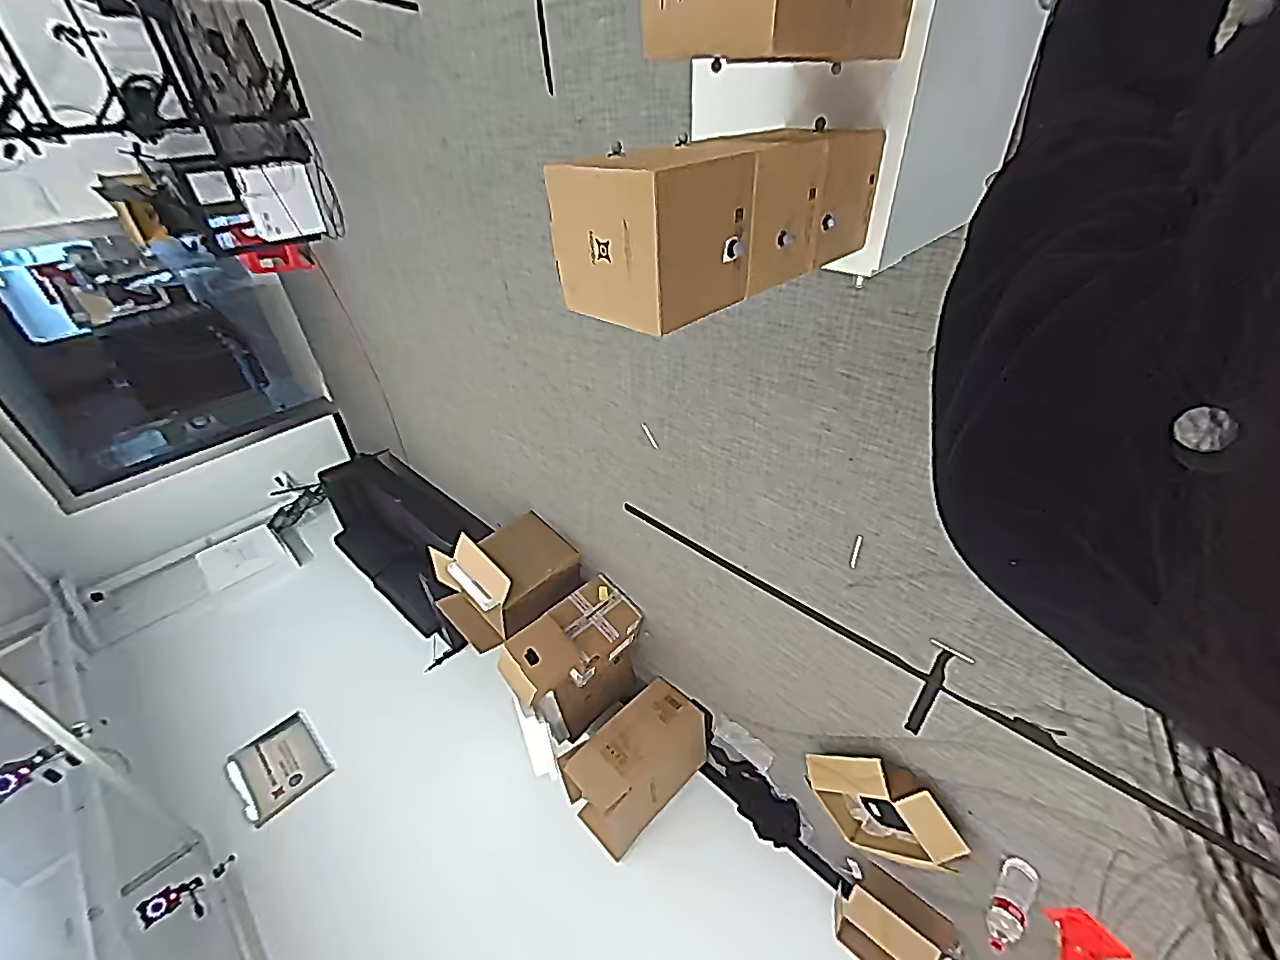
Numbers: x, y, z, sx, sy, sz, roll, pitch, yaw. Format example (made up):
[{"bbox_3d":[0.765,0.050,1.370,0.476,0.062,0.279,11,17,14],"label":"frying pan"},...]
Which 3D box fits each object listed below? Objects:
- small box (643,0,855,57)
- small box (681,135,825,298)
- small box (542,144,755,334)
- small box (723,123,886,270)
[{"bbox_3d":[0.121,-0.560,0.579,0.179,0.176,0.168,29,138,33],"label":"small box"},{"bbox_3d":[0.127,-0.364,0.733,0.179,0.176,0.168,28,137,36],"label":"small box"},{"bbox_3d":[0.012,-0.293,0.643,0.179,0.176,0.168,27,137,36],"label":"small box"},{"bbox_3d":[0.239,-0.437,0.825,0.179,0.176,0.168,30,138,36],"label":"small box"}]
